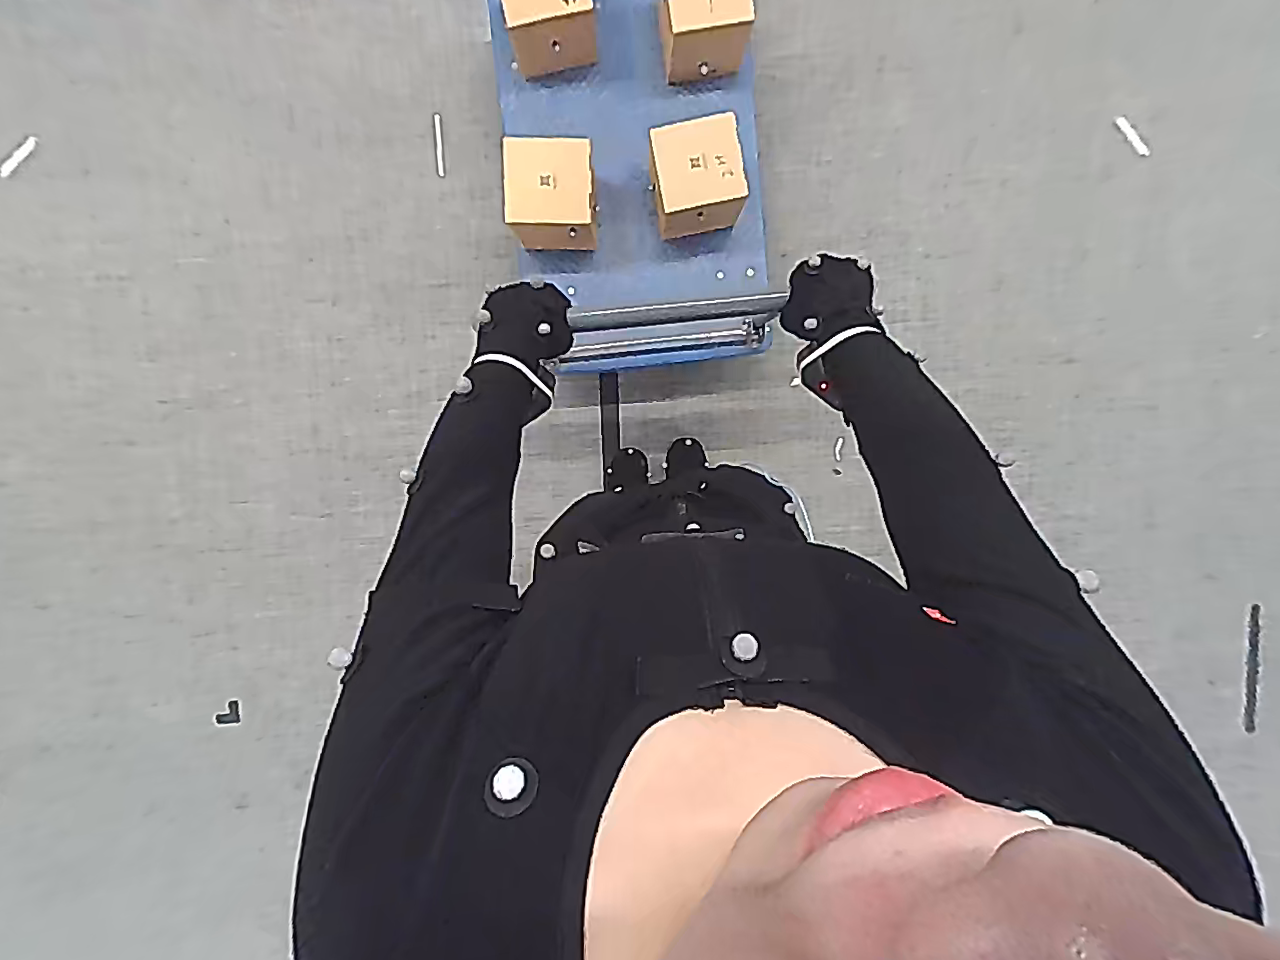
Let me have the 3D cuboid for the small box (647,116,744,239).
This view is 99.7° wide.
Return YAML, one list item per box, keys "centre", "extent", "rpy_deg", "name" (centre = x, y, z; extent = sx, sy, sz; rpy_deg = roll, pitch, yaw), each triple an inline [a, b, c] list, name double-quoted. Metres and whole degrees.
- centre: [0.114, -0.642, 1.169]
  extent: [0.179, 0.176, 0.168]
  rpy_deg: [-11, 96, 1]
  name: "small box"

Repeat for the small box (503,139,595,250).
- centre: [-0.191, -0.608, 1.171]
  extent: [0.179, 0.176, 0.168]
  rpy_deg: [0, 96, -2]
  name: "small box"

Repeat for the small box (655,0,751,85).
- centre: [0.126, -0.979, 1.134]
  extent: [0.168, 0.176, 0.179]
  rpy_deg: [-9, 97, 0]
  name: "small box"
